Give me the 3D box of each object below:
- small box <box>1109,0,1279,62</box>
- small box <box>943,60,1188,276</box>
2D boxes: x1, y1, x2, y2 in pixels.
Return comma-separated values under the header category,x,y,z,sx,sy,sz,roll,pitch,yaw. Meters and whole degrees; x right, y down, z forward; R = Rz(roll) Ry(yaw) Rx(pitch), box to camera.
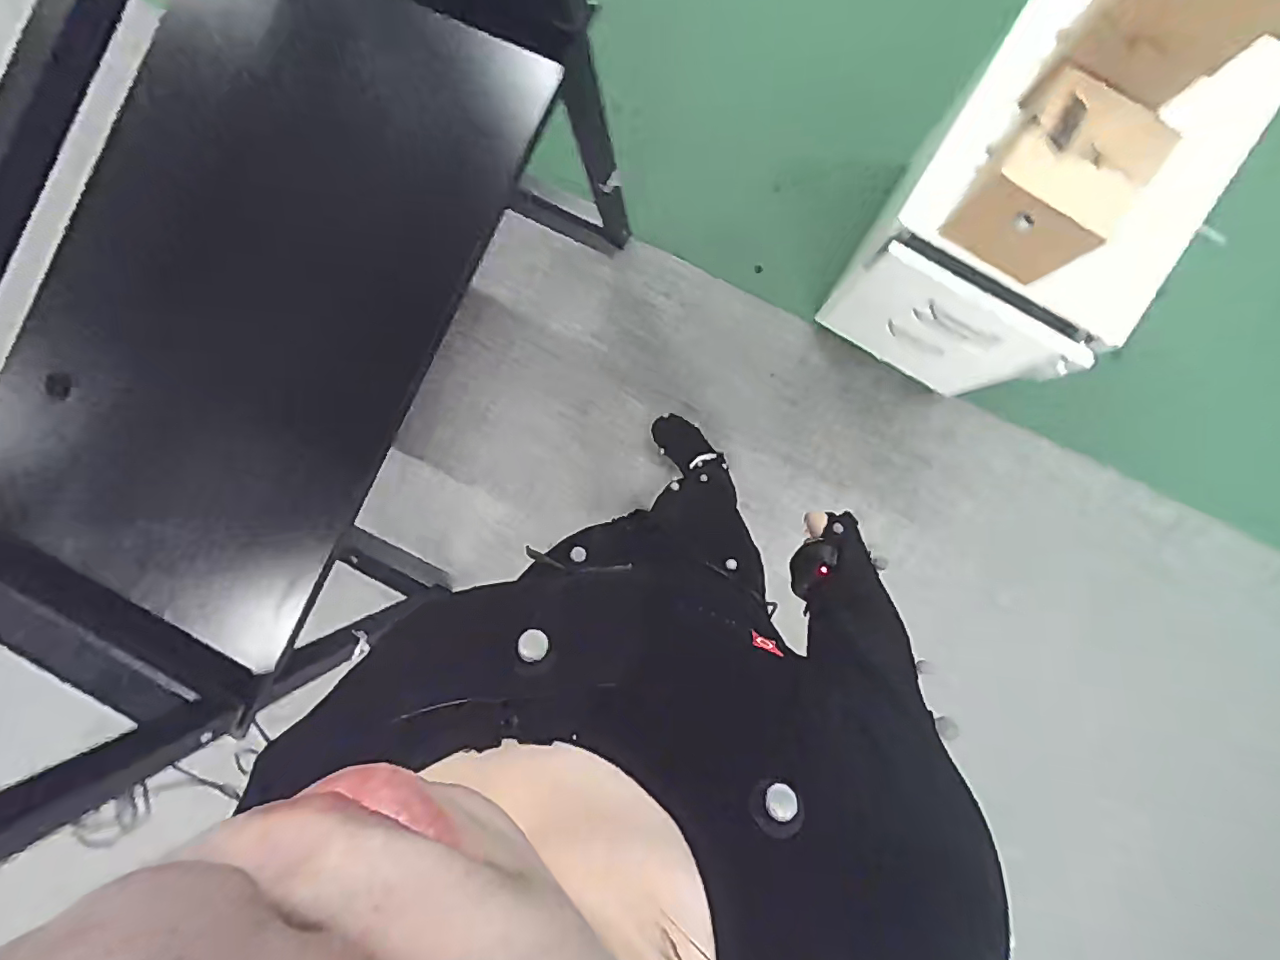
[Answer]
category,x,y,z,sx,sy,sz,roll,pitch,yaw
small box,0.681,-0.621,0.592,0.179,0.176,0.168,34,93,2
small box,0.576,-0.420,0.763,0.179,0.176,0.168,34,92,2
